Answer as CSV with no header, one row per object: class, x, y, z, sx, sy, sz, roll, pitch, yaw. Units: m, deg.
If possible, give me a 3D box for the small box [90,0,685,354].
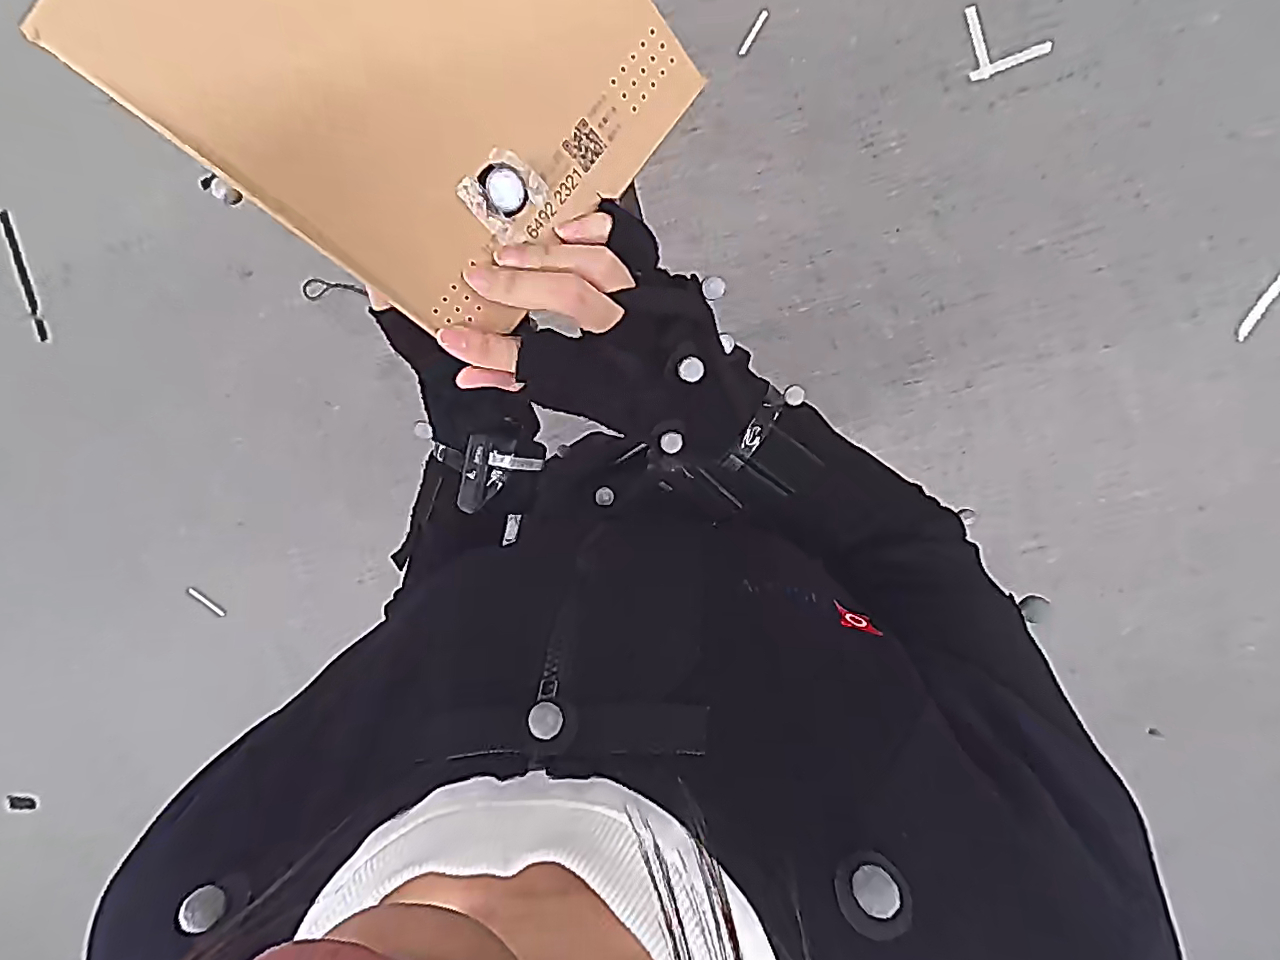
small box,-0.110,-0.190,0.290,0.176,0.179,0.168,36,94,-32
